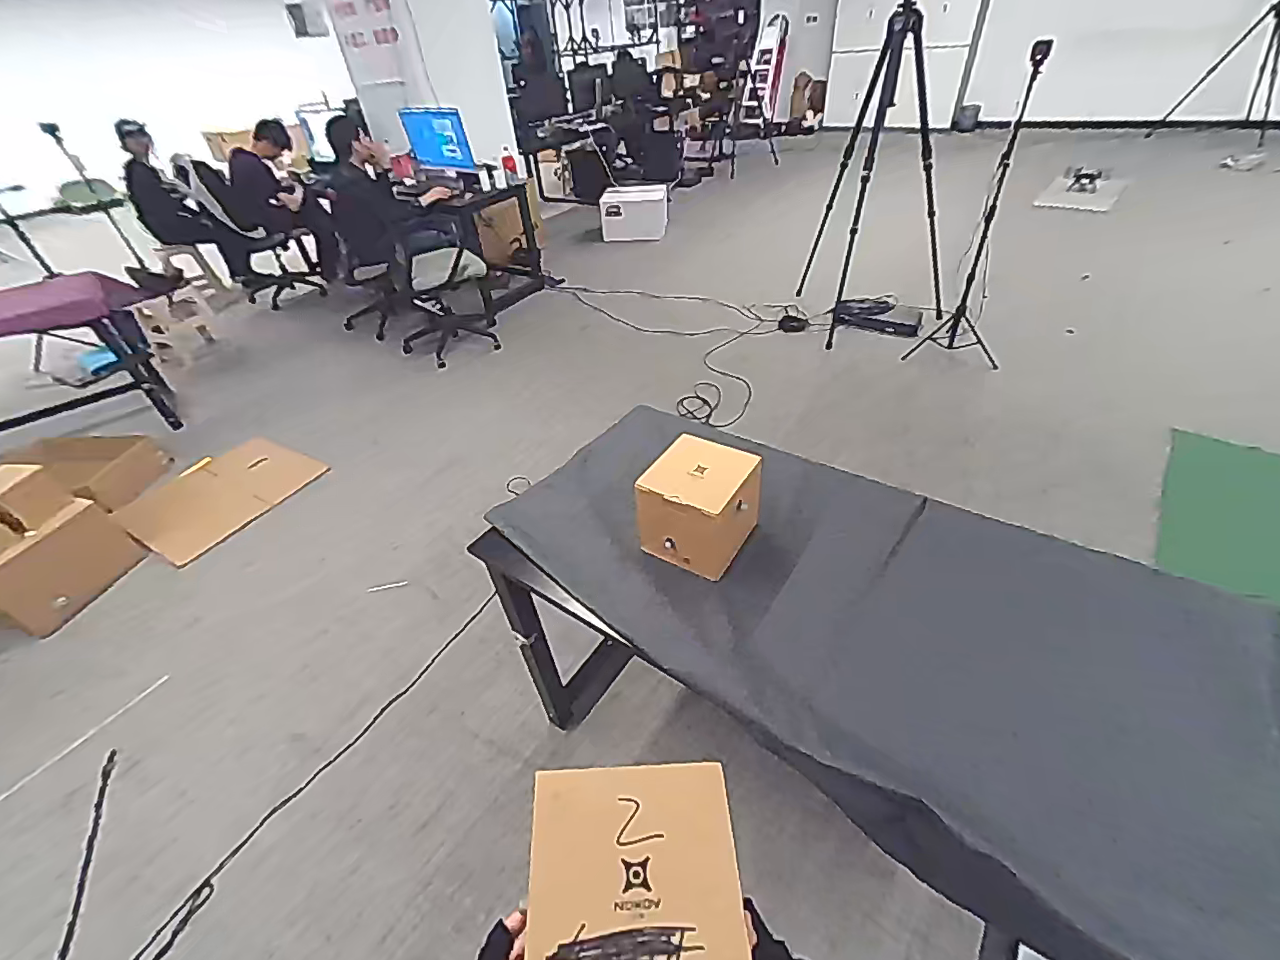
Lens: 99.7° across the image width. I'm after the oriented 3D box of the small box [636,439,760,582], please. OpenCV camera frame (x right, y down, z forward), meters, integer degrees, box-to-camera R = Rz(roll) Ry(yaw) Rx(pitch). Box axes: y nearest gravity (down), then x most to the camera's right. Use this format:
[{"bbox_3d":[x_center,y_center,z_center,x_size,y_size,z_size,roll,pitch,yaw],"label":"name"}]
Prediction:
[{"bbox_3d":[0.109,0.055,1.017,0.168,0.176,0.179,21,47,27],"label":"small box"}]
